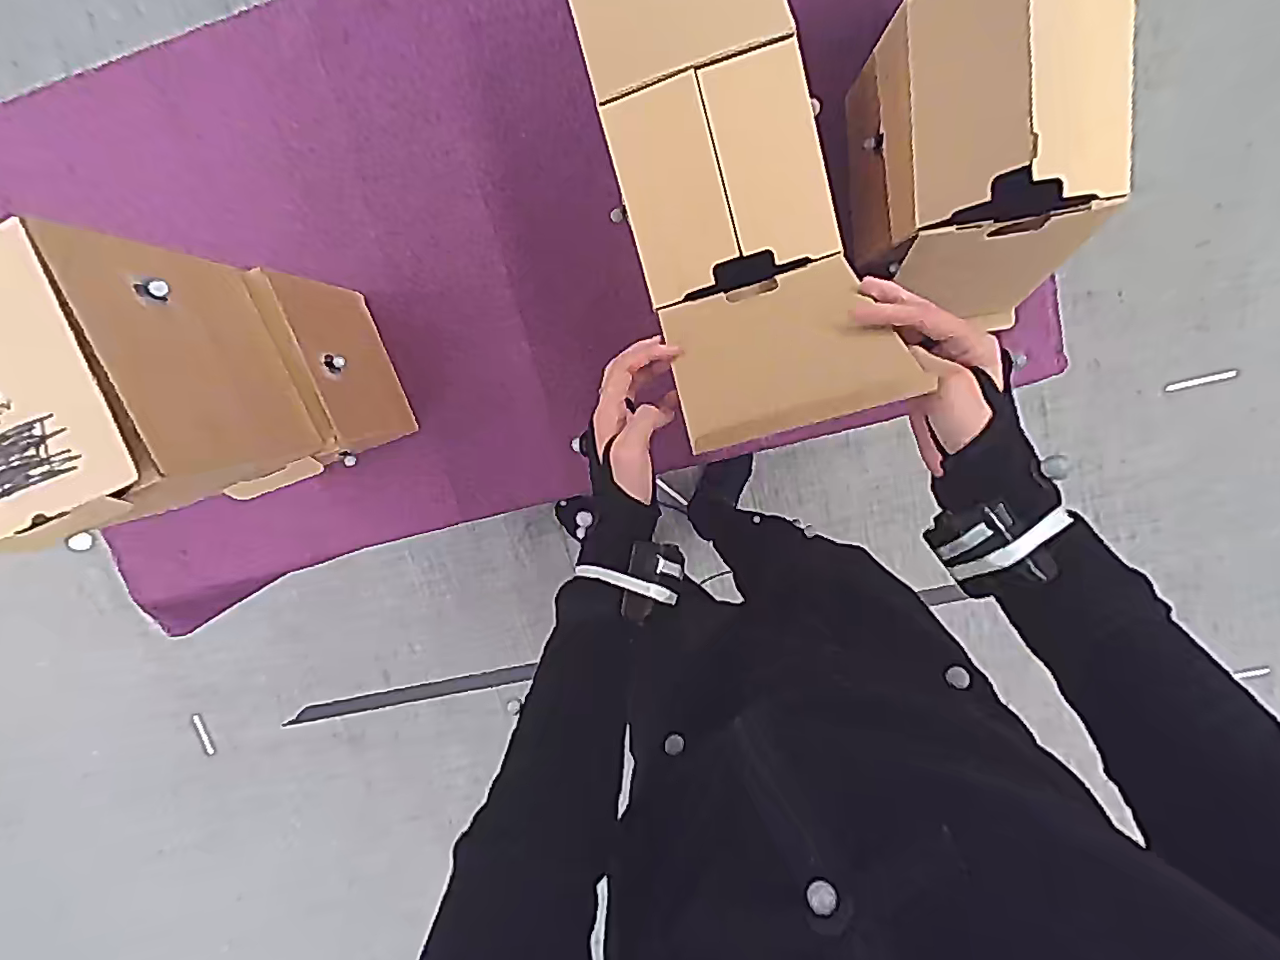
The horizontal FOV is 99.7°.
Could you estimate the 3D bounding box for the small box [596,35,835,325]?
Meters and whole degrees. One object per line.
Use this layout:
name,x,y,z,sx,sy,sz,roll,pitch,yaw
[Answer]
small box,0.068,-0.262,0.522,0.168,0.176,0.179,-15,100,7

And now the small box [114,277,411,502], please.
small box,-0.384,-0.098,0.588,0.168,0.176,0.179,-18,100,6
